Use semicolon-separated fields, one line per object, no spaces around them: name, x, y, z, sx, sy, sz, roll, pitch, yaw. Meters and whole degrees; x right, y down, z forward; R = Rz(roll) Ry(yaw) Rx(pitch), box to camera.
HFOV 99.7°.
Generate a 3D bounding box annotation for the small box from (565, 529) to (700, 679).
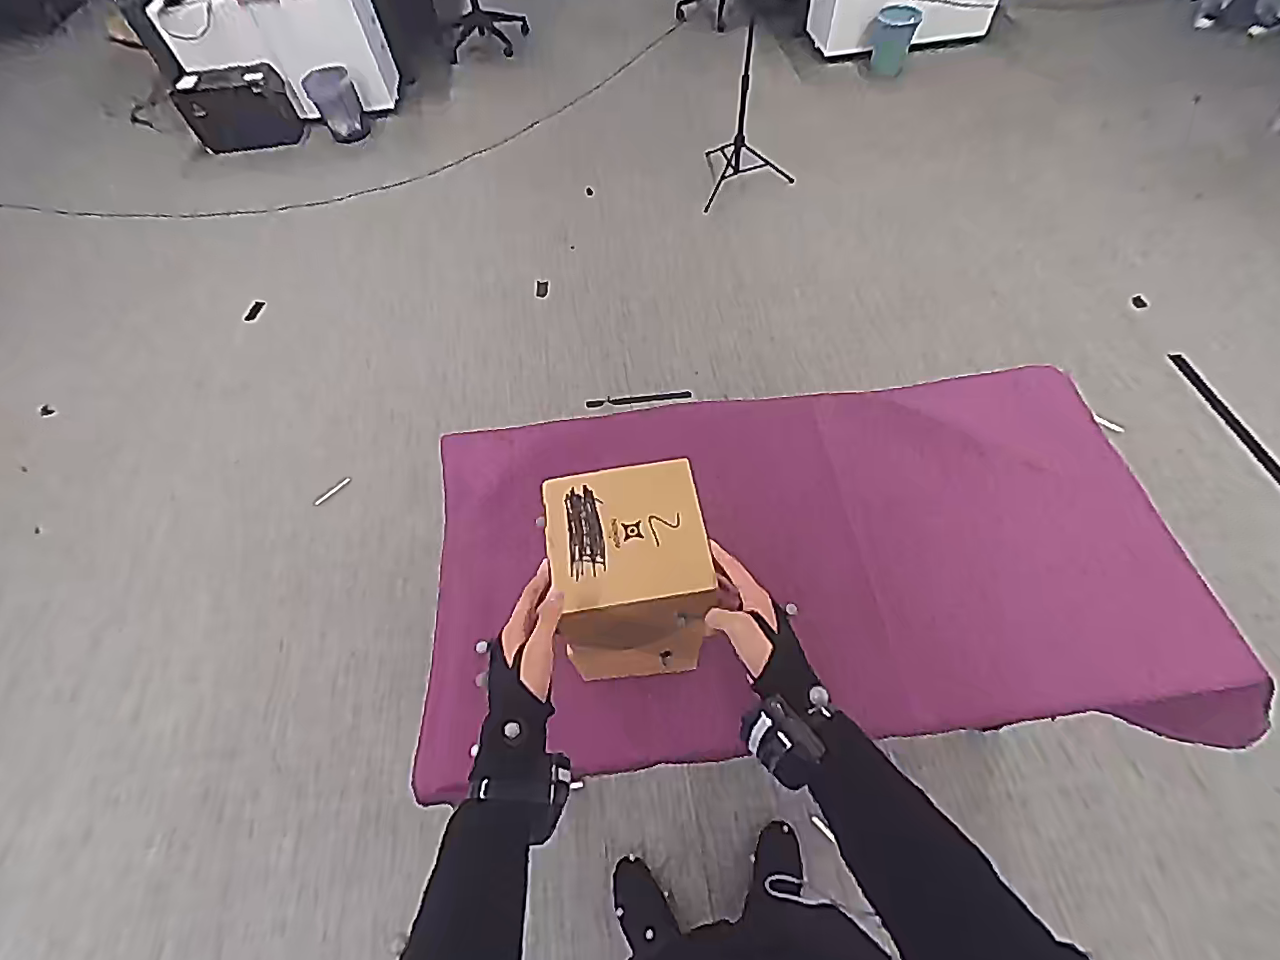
small box;-0.012;0.187;0.797;0.179;0.176;0.168;-6;58;0
